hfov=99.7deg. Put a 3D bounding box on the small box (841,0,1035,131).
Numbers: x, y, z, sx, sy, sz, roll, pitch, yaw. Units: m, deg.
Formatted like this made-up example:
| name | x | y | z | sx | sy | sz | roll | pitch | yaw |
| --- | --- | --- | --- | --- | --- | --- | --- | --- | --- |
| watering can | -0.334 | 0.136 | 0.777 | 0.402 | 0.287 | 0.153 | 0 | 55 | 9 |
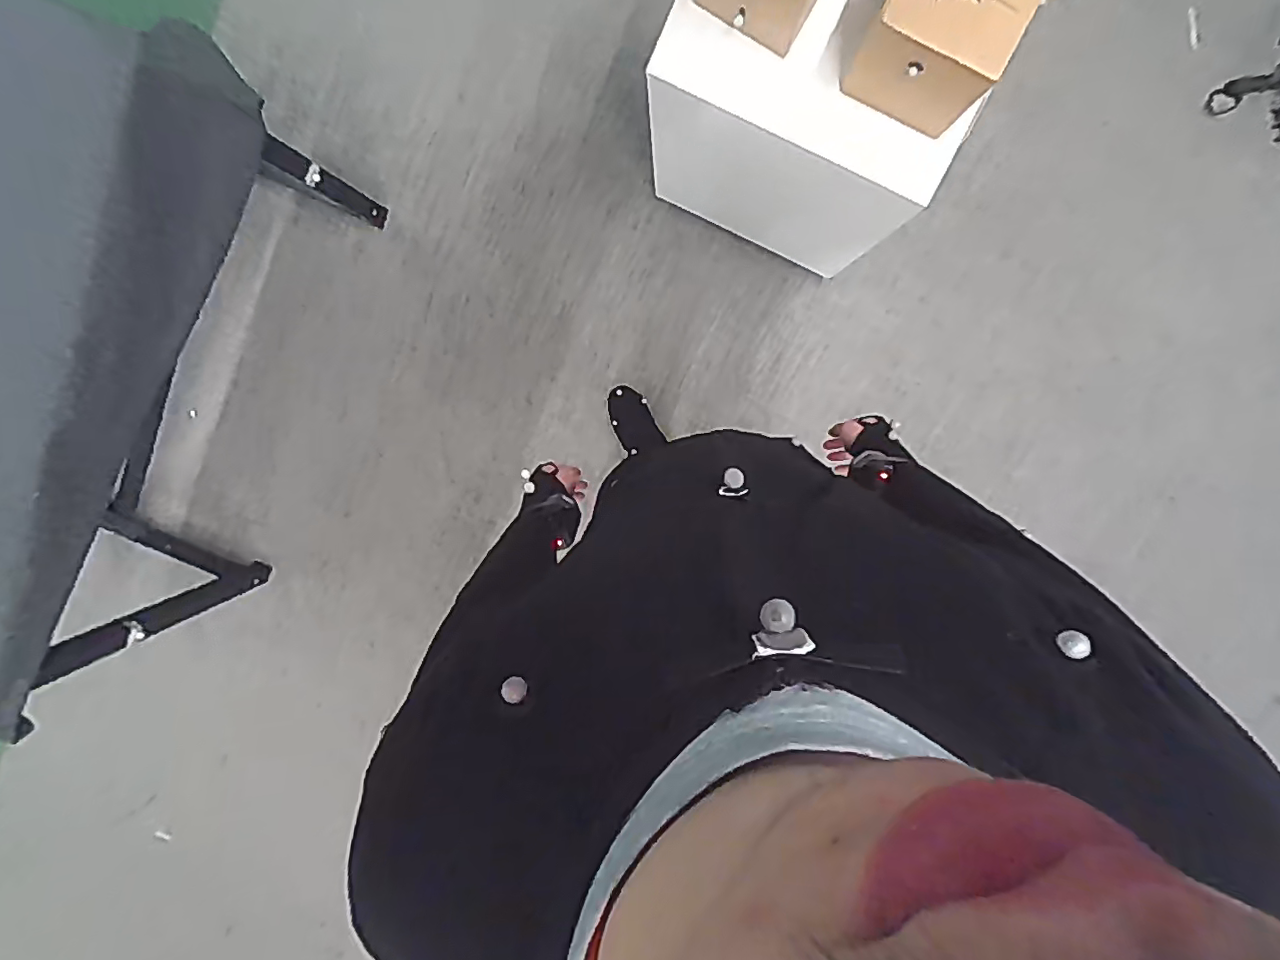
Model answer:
| name | x | y | z | sx | sy | sz | roll | pitch | yaw |
| --- | --- | --- | --- | --- | --- | --- | --- | --- | --- |
| small box | 0.416 | -0.638 | 0.762 | 0.179 | 0.176 | 0.168 | 25 | 98 | -3 |
